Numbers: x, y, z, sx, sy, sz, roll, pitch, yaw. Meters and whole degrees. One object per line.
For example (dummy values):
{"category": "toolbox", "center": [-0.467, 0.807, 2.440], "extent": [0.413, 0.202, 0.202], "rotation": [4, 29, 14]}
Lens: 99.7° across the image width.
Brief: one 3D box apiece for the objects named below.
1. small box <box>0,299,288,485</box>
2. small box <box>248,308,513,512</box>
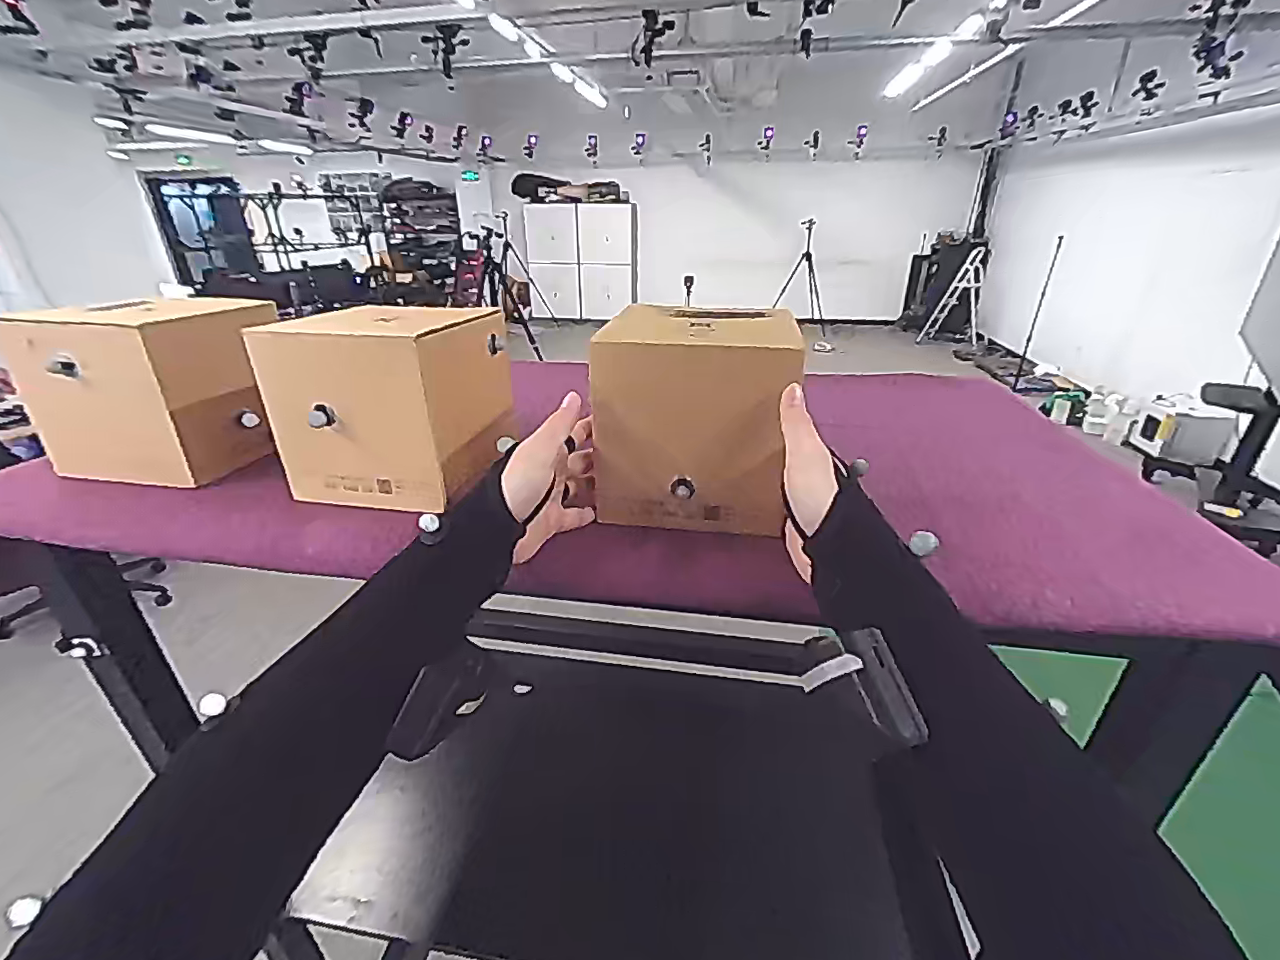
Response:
{"category": "small box", "center": [-0.519, -0.104, 0.604], "extent": [0.179, 0.176, 0.168], "rotation": [5, 26, 9]}
{"category": "small box", "center": [-0.241, -0.079, 0.556], "extent": [0.168, 0.176, 0.179], "rotation": [4, 25, 10]}
